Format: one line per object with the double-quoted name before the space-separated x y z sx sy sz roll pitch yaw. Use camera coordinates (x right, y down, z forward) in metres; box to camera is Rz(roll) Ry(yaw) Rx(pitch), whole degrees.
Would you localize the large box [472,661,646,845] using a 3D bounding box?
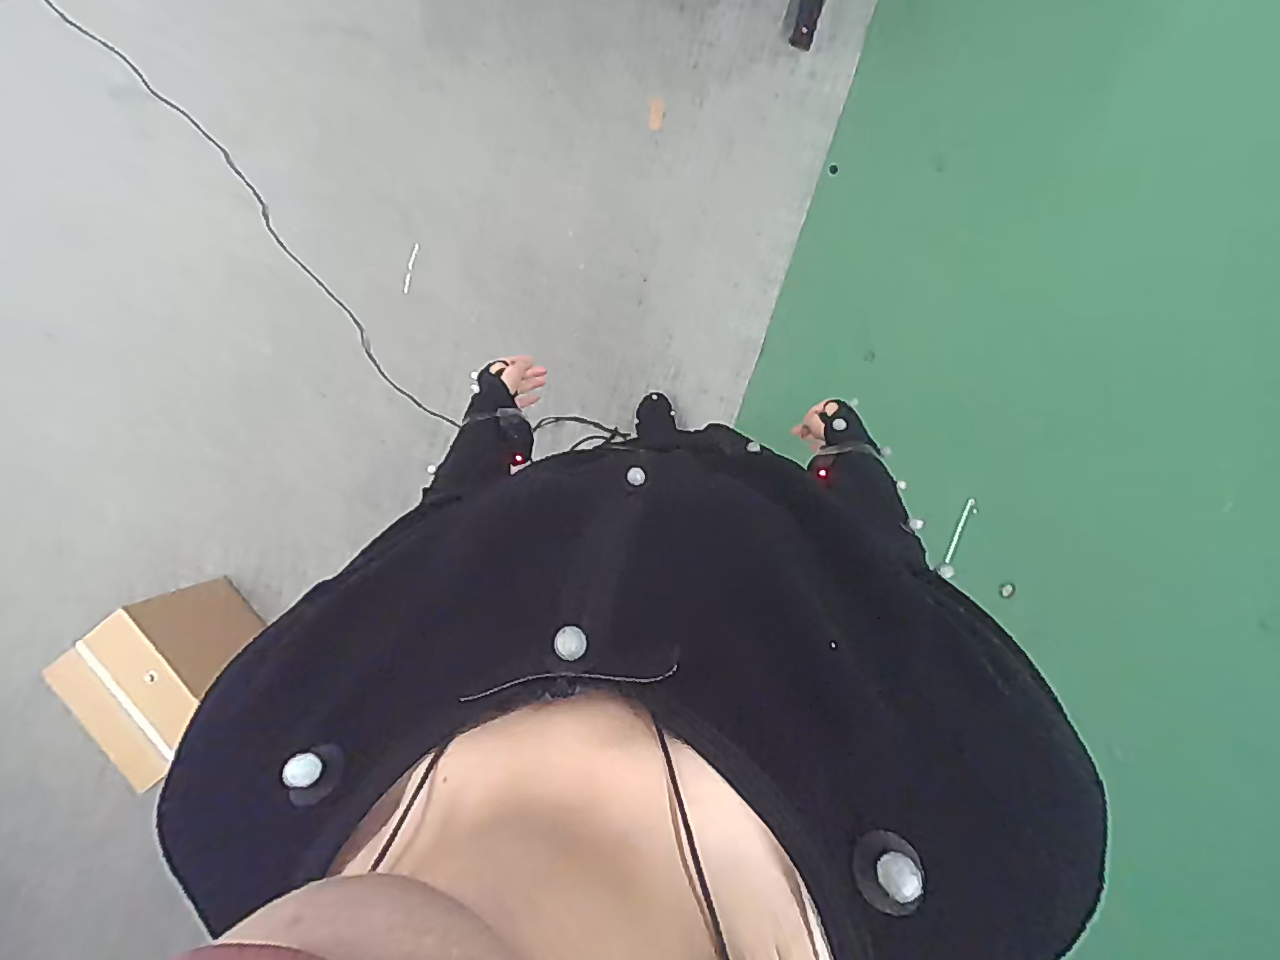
"large box" -0.198 0.699 1.435 0.408 0.320 0.320 4 96 3
